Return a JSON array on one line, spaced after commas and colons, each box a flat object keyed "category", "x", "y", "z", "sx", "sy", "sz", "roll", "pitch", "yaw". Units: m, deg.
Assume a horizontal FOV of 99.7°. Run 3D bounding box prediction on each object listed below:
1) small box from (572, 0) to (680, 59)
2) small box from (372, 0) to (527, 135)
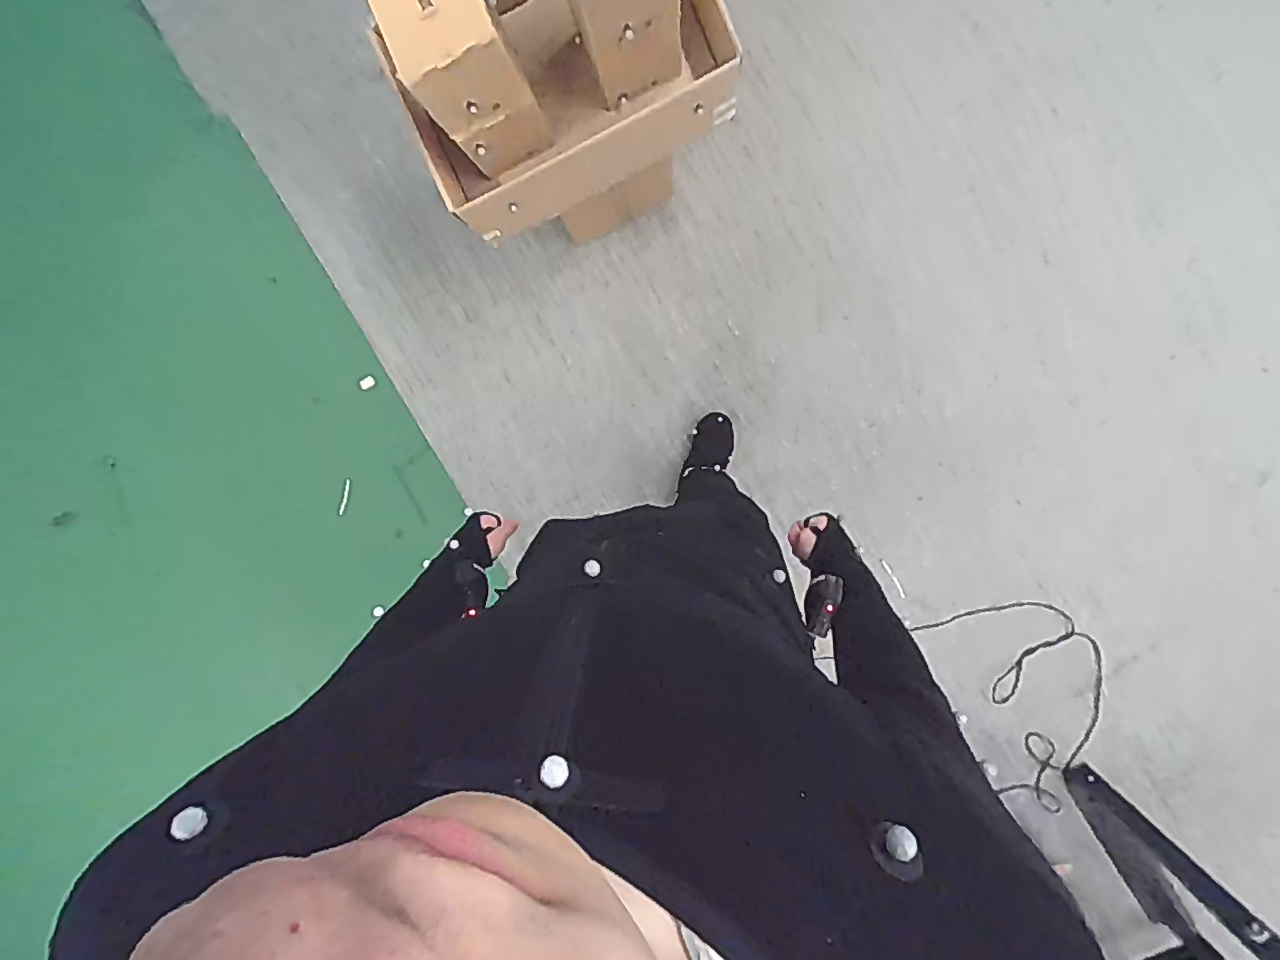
[{"category": "small box", "x": -0.043, "y": -0.839, "z": 0.863, "sx": 0.168, "sy": 0.176, "sz": 0.179, "roll": -22, "pitch": 95, "yaw": 9}, {"category": "small box", "x": -0.313, "y": -0.732, "z": 0.905, "sx": 0.168, "sy": 0.176, "sz": 0.179, "roll": -22, "pitch": 94, "yaw": 8}]
